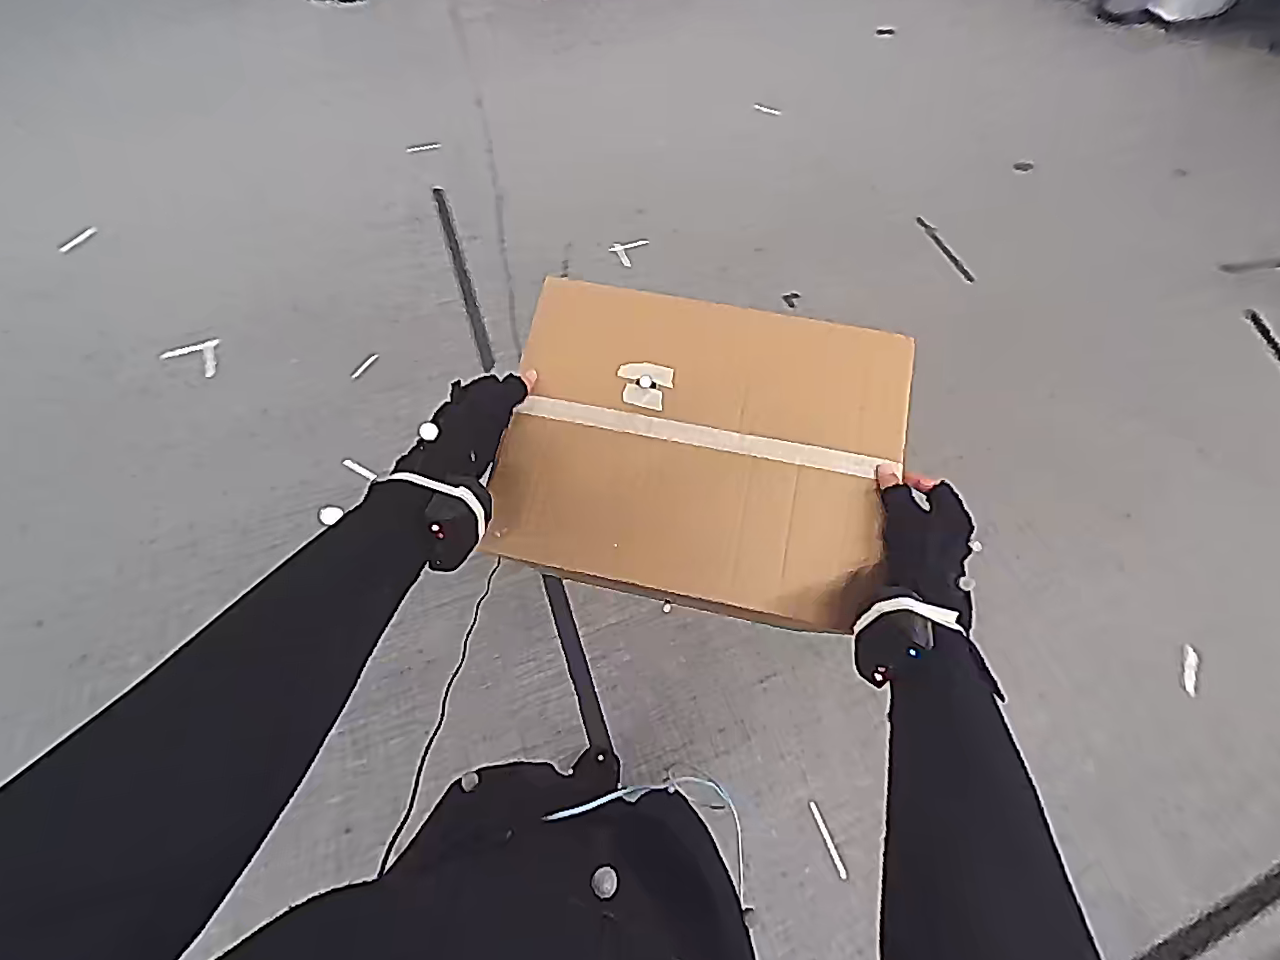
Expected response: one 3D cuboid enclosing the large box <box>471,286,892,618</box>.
[{"bbox_3d":[0.059,-0.009,0.708,0.408,0.320,0.320,11,75,6],"label":"large box"}]
